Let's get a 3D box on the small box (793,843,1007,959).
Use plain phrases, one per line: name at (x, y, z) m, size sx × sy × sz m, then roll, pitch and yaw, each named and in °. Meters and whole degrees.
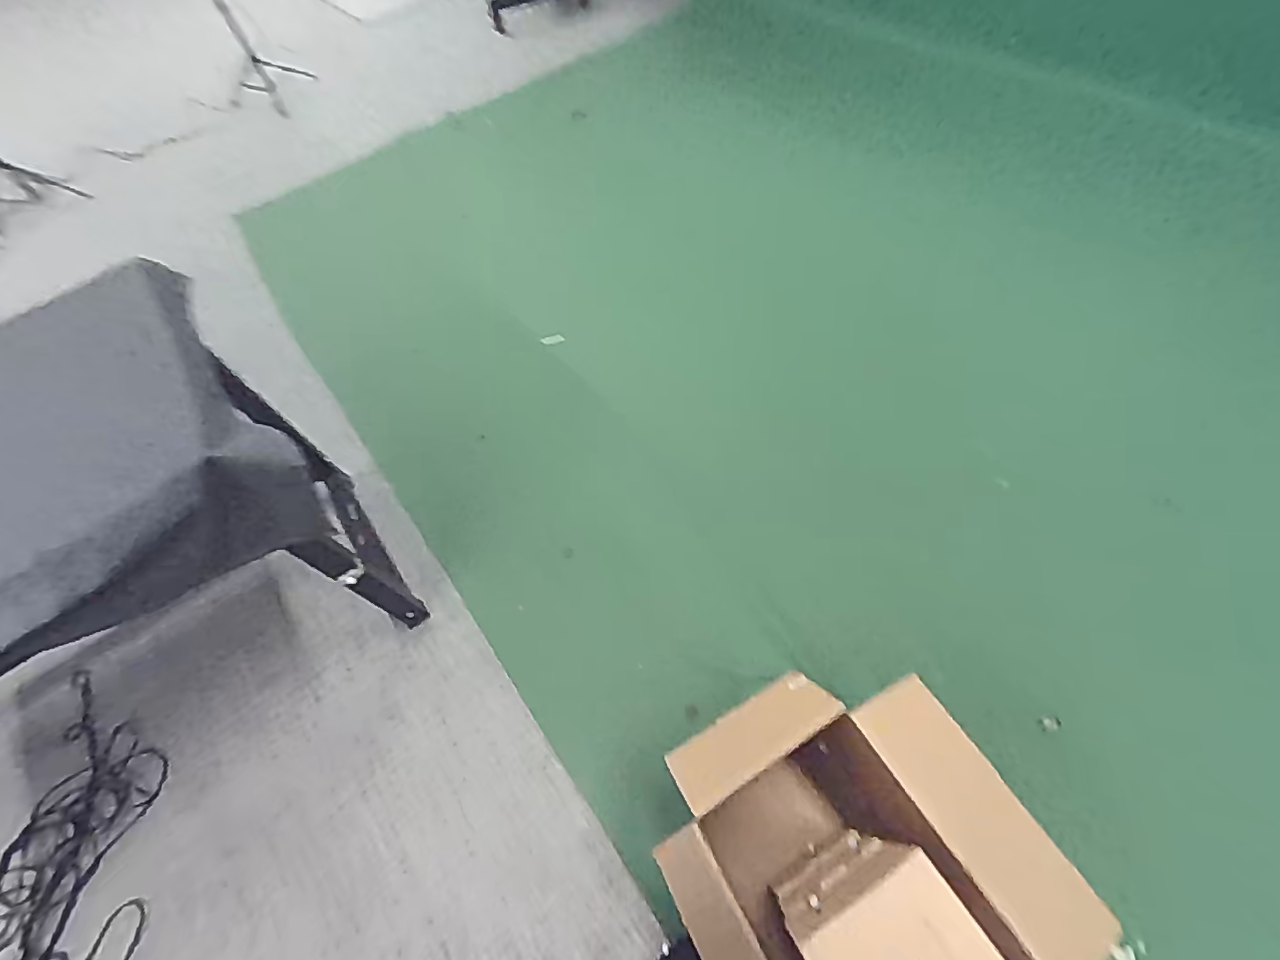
small box at (0.292, 0.548, 0.614) m, size 0.179 × 0.176 × 0.168 m, roll -30°, pitch 59°, yaw -11°
